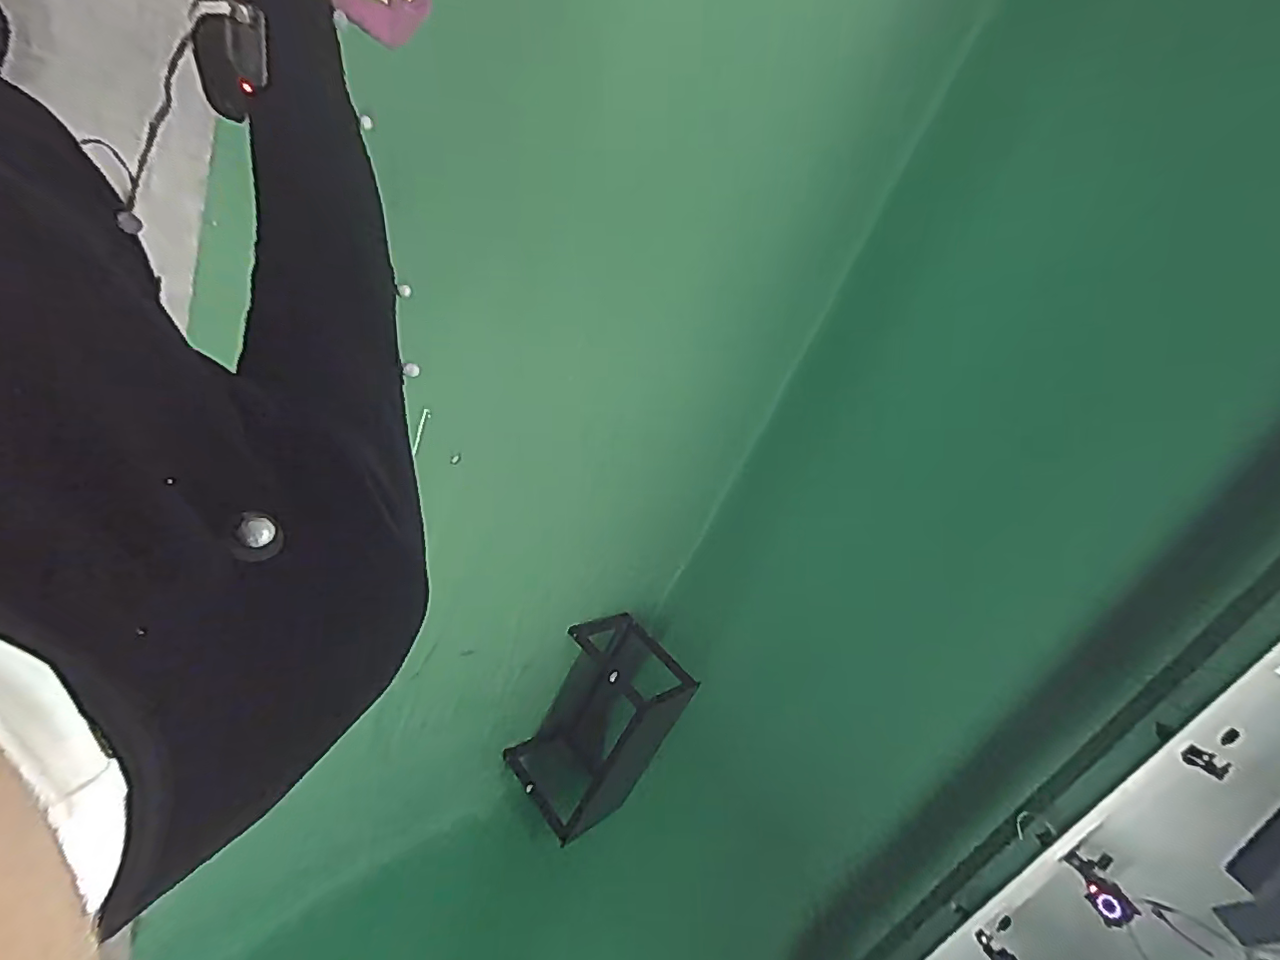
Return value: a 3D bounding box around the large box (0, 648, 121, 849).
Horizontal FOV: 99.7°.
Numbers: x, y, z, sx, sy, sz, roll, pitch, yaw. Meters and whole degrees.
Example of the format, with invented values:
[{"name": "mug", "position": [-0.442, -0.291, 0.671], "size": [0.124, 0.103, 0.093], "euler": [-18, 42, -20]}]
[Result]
[{"name": "large box", "position": [-1.667, 0.715, 1.357], "size": [0.408, 0.320, 0.320], "euler": [-34, 145, -28]}]
